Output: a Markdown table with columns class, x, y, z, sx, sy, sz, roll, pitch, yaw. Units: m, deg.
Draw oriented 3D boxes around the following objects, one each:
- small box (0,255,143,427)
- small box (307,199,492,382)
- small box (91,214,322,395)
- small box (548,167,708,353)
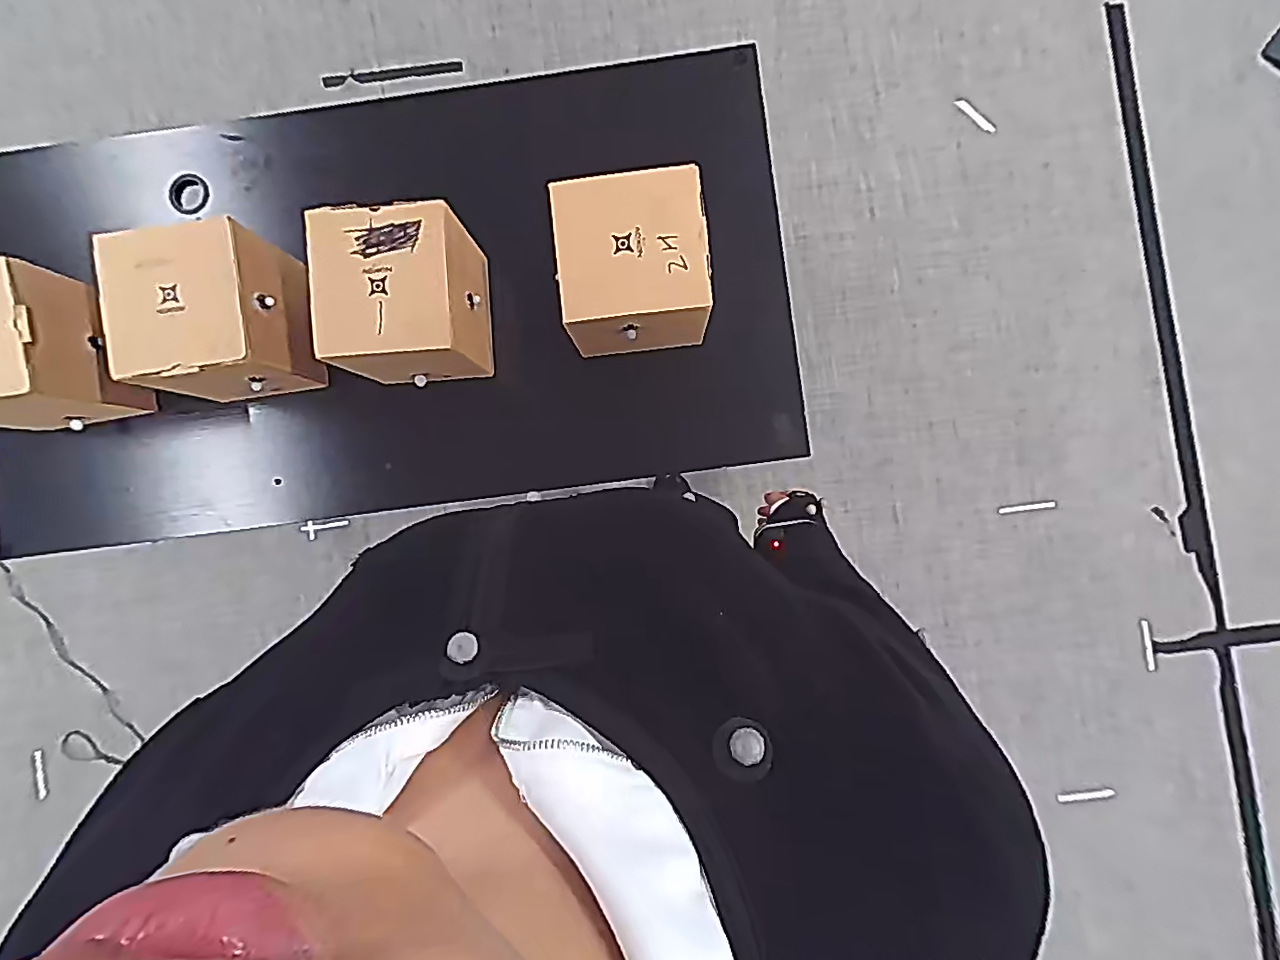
| class | x | y | z | sx | sy | sz | roll | pitch | yaw |
| --- | --- | --- | --- | --- | --- | --- | --- | --- | --- |
| small box | -0.808 | -0.170 | 0.710 | 0.179 | 0.176 | 0.168 | -10 | 89 | 0 |
| small box | -0.300 | -0.234 | 0.705 | 0.168 | 0.176 | 0.179 | -4 | 90 | 1 |
| small box | -0.549 | -0.214 | 0.710 | 0.168 | 0.176 | 0.179 | -8 | 88 | 0 |
| small box | -0.011 | -0.269 | 0.701 | 0.179 | 0.176 | 0.168 | -6 | 89 | 1 |
